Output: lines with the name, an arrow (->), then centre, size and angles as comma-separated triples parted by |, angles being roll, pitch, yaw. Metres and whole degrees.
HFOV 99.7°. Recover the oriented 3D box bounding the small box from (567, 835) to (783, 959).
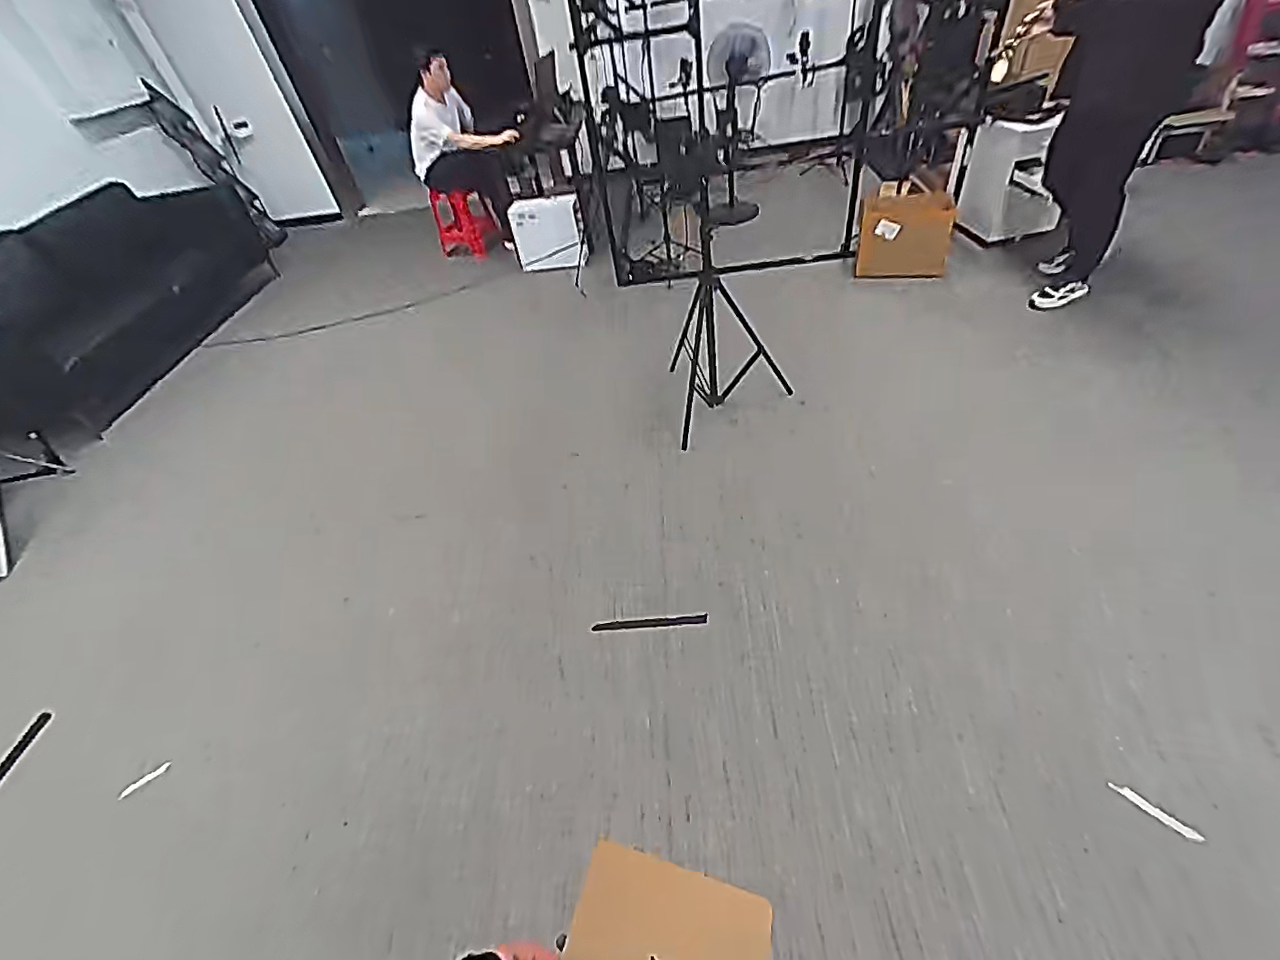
small box -> 0.022, 0.460, 0.474 | 0.168, 0.176, 0.179 | 10, 42, 15
